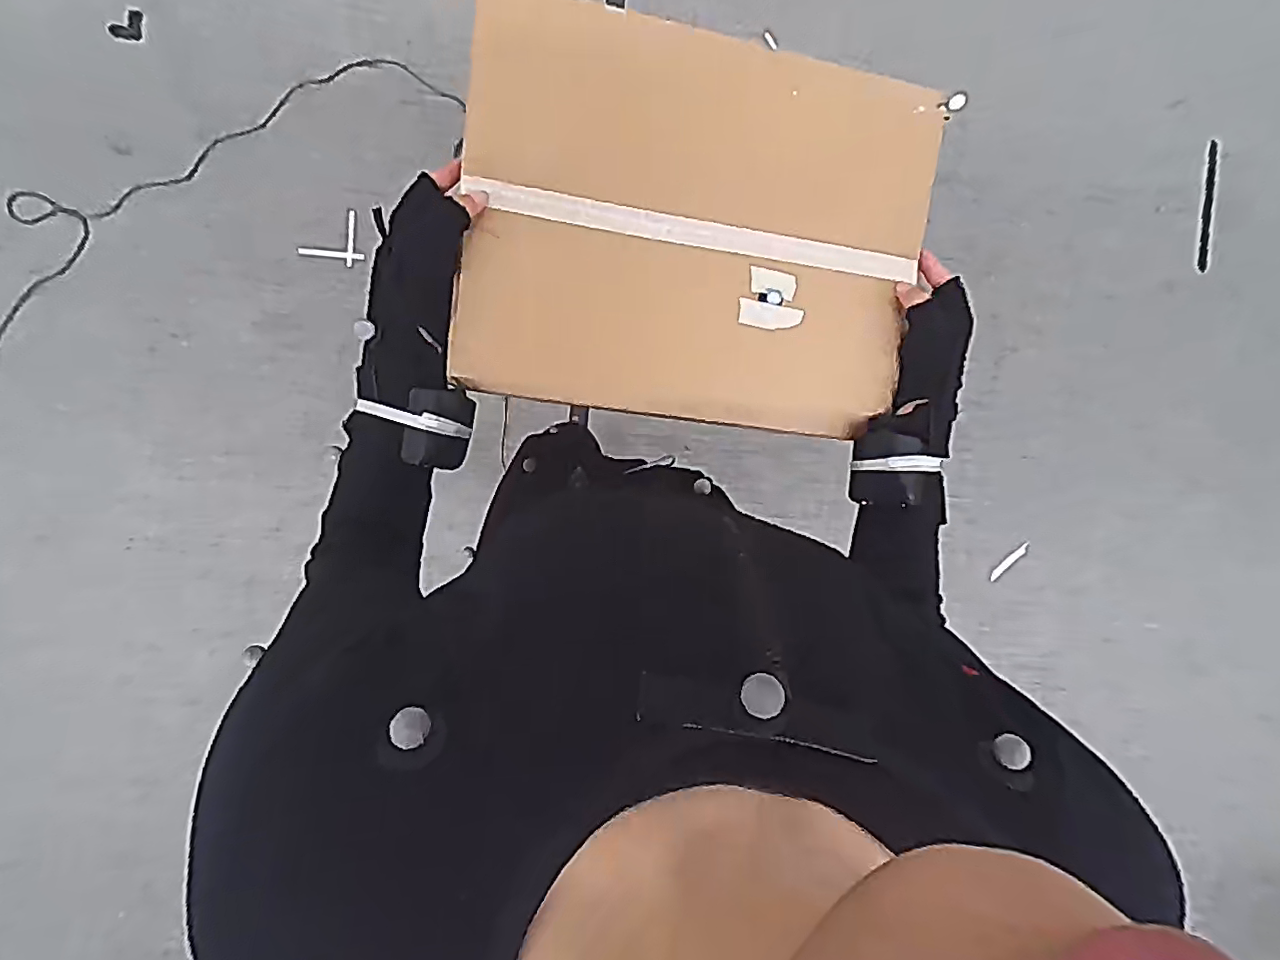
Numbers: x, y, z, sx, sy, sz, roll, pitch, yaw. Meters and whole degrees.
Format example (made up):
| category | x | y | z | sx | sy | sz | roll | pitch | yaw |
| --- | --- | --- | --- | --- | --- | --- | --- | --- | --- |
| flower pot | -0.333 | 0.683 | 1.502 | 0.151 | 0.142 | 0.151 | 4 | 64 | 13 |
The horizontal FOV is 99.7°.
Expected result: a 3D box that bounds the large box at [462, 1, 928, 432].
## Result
| category | x | y | z | sx | sy | sz | roll | pitch | yaw |
| --- | --- | --- | --- | --- | --- | --- | --- | --- | --- |
| large box | 0.030 | -0.236 | 0.625 | 0.408 | 0.320 | 0.320 | 6 | 99 | -10 |
